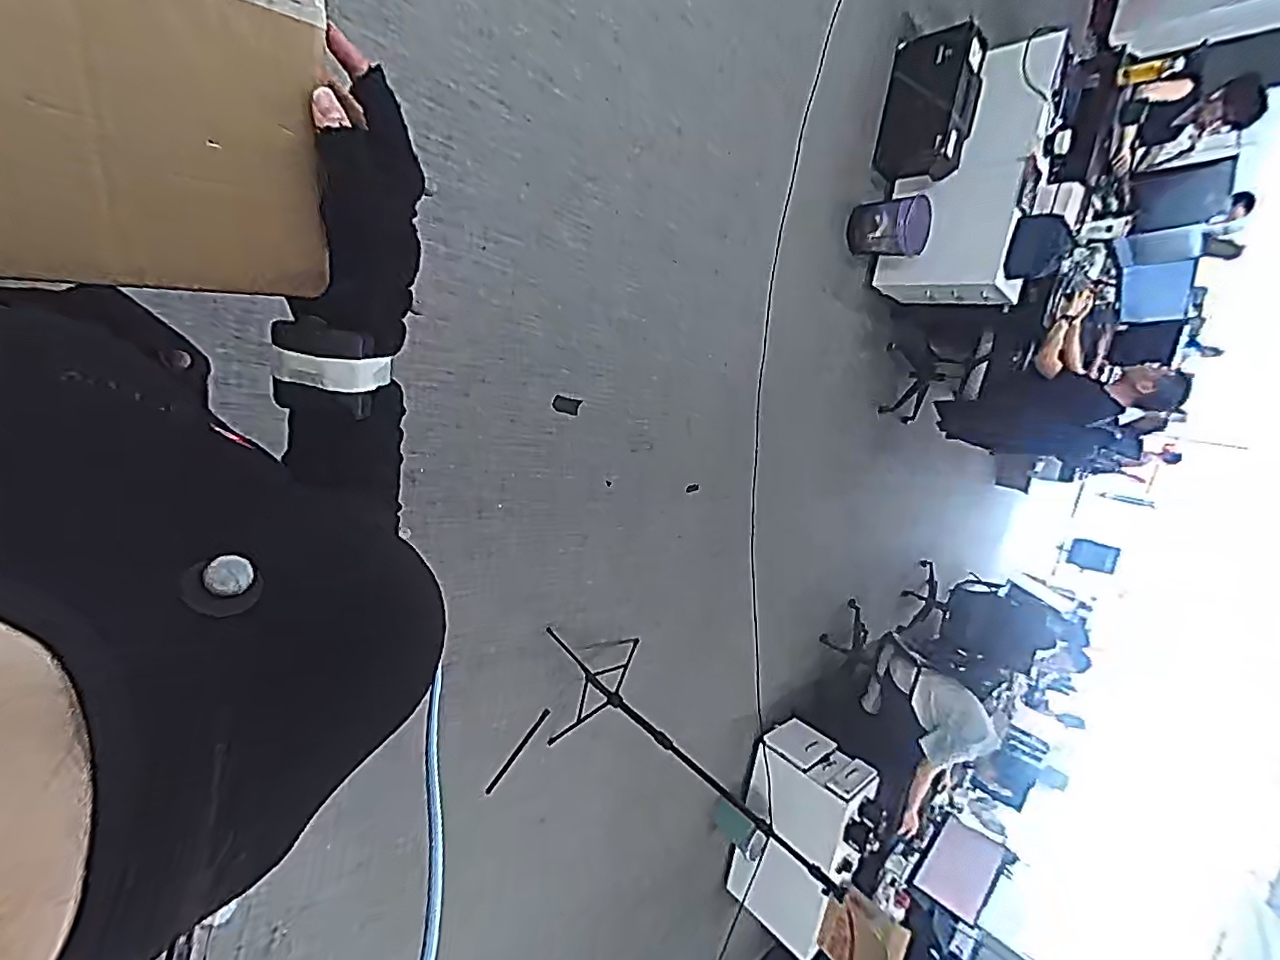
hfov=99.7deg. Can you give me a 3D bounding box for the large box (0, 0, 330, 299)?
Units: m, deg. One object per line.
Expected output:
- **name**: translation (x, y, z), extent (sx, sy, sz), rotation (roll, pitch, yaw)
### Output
- **large box**: translation (-0.418, -0.296, 0.257), extent (0.408, 0.320, 0.320), rotation (-12, 130, -42)
